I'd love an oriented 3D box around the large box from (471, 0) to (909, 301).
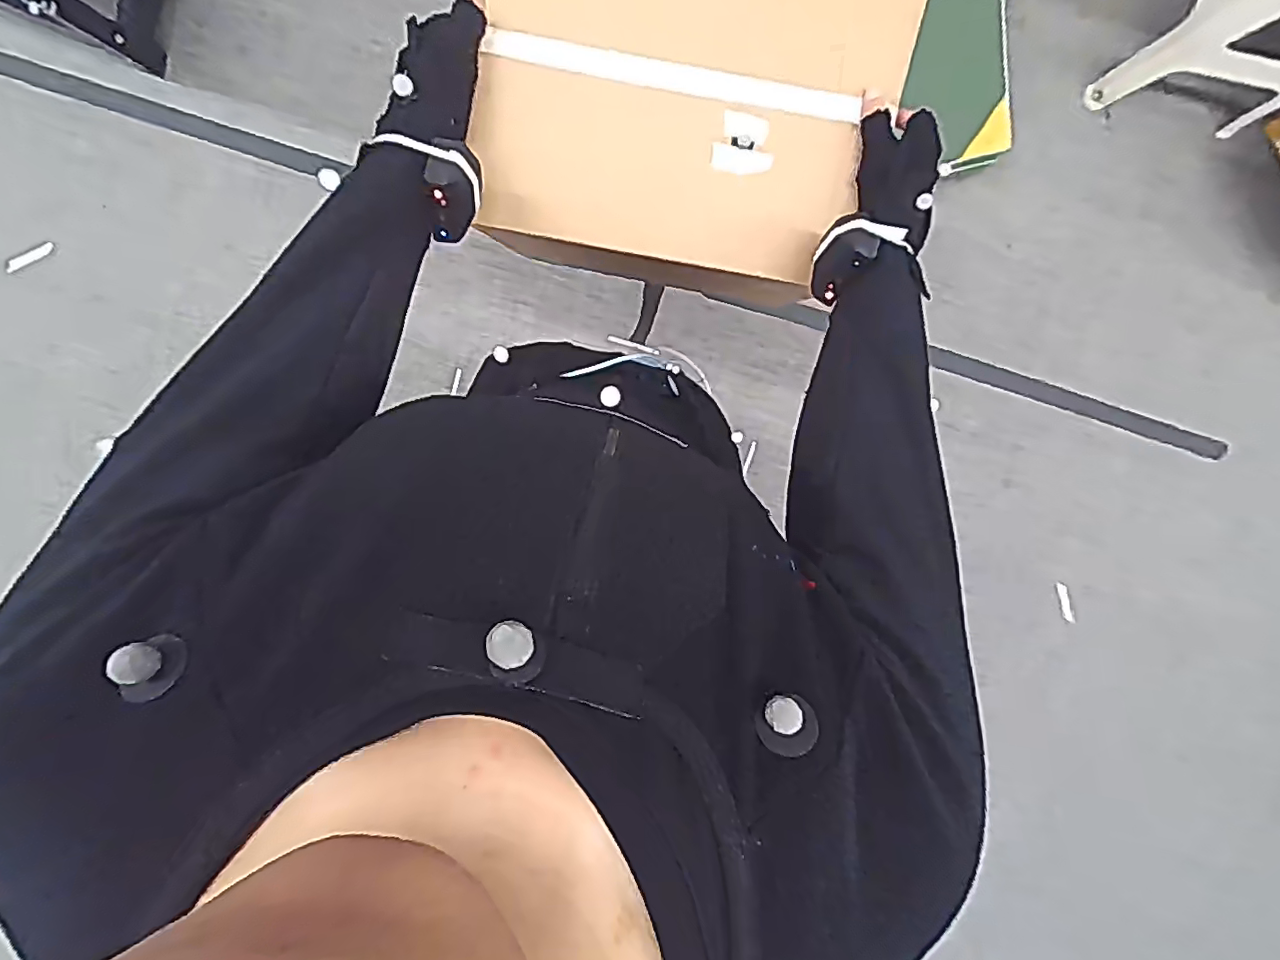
[{"bbox_3d":[0.039,-0.418,0.671,0.408,0.320,0.320,9,106,-3],"label":"large box"}]
